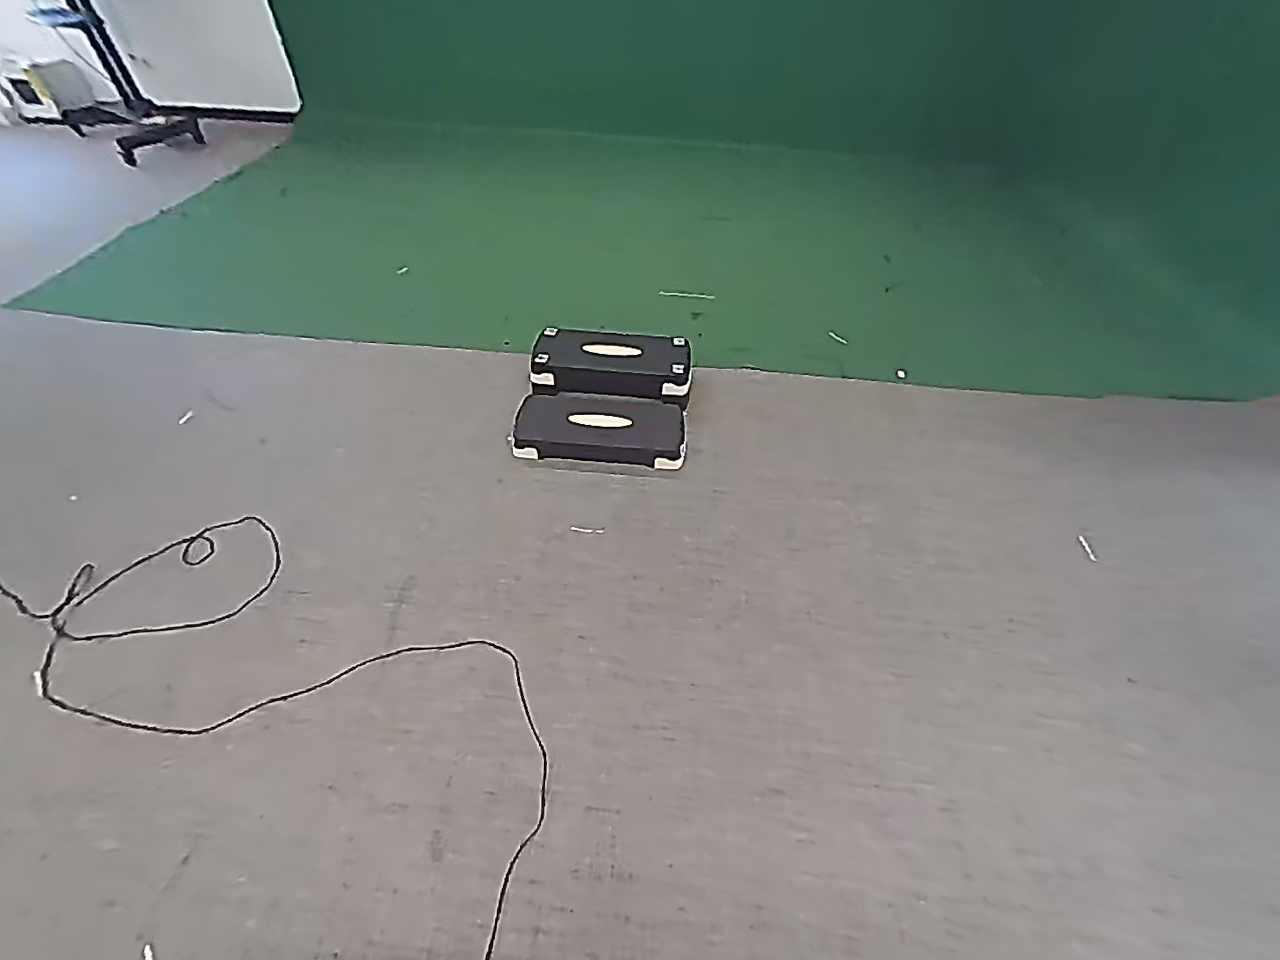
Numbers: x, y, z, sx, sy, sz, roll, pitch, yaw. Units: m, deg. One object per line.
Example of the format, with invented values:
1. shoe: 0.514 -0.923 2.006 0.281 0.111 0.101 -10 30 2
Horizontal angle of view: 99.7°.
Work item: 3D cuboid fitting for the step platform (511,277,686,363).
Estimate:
1. step platform: -0.163 -0.648 2.199 0.684 0.204 0.286 4 48 2
